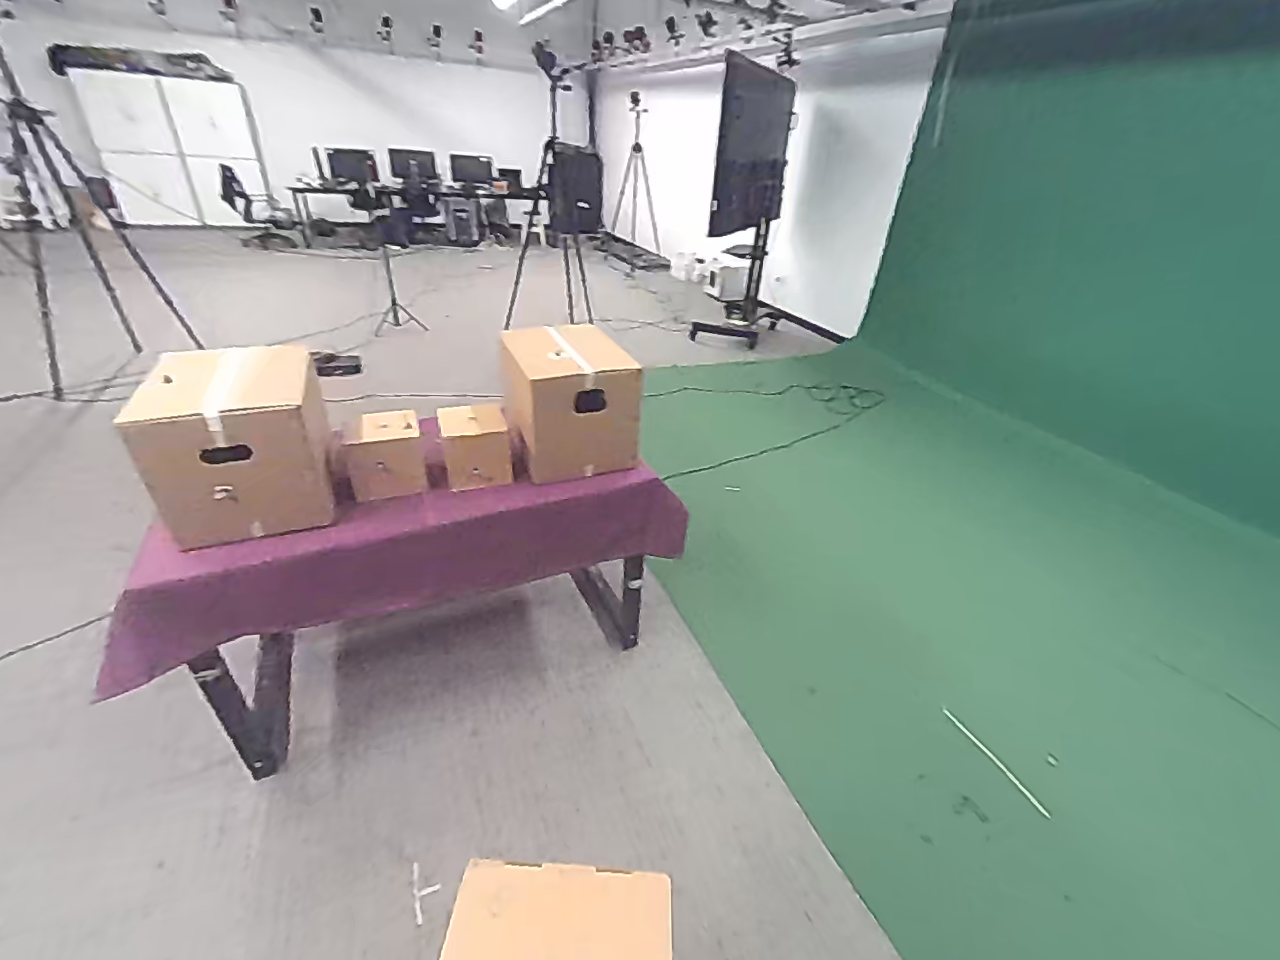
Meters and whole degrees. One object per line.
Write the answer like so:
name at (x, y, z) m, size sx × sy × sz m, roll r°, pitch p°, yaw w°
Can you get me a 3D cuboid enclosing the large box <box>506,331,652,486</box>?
large box at (-0.200, -0.231, 1.619) m, size 0.320 × 0.320 × 0.408 m, roll -10°, pitch 36°, yaw -22°
